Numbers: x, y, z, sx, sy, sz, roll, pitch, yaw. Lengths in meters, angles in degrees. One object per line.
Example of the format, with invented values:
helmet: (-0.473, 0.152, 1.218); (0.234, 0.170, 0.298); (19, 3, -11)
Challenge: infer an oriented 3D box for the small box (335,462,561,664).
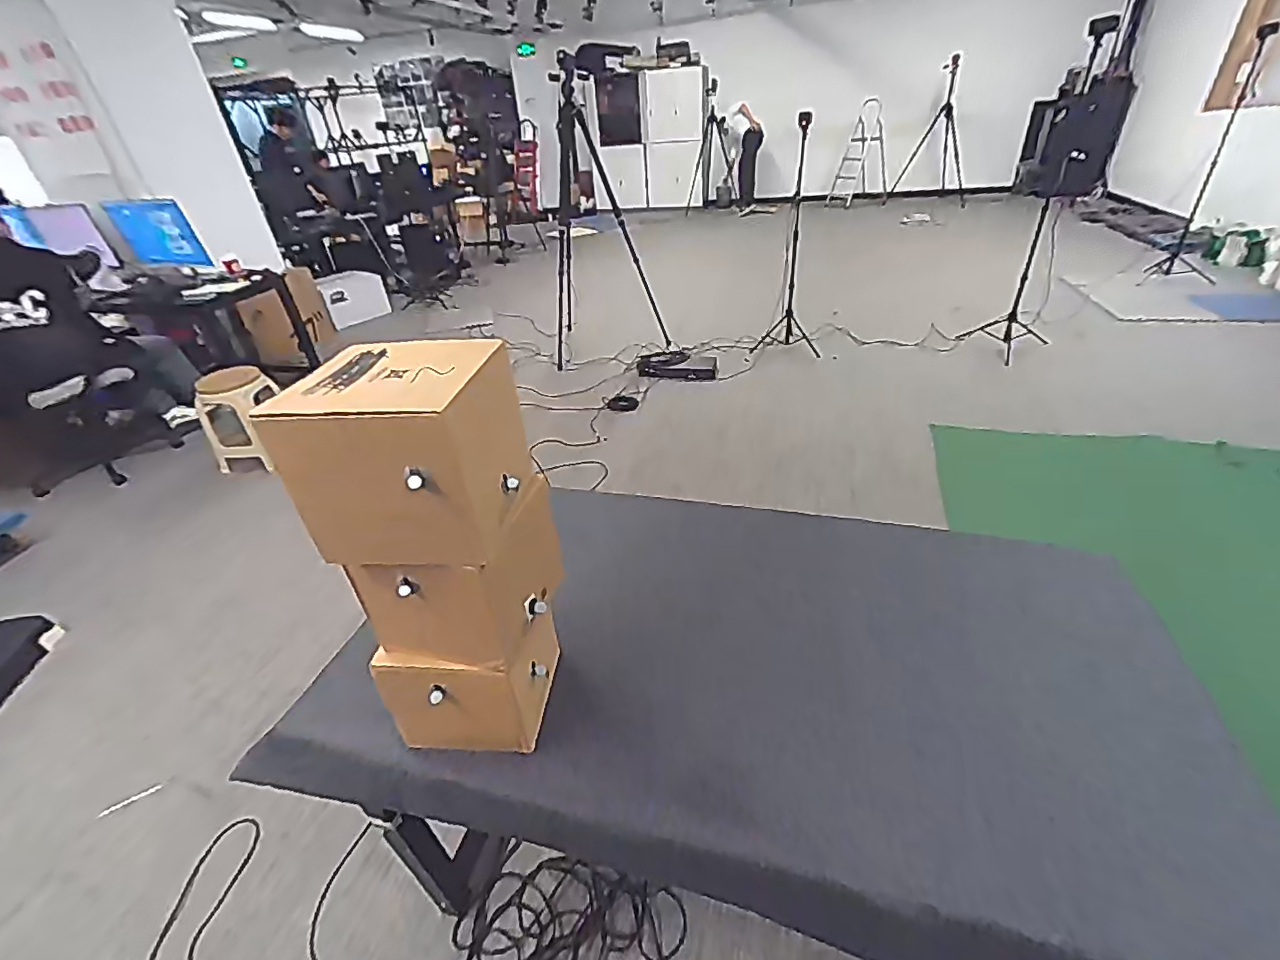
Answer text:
small box: (-0.212, 0.096, 0.649); (0.179, 0.176, 0.168); (6, 36, 14)

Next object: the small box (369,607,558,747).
small box: (-0.218, 0.238, 0.730); (0.179, 0.176, 0.168); (0, 33, 7)
